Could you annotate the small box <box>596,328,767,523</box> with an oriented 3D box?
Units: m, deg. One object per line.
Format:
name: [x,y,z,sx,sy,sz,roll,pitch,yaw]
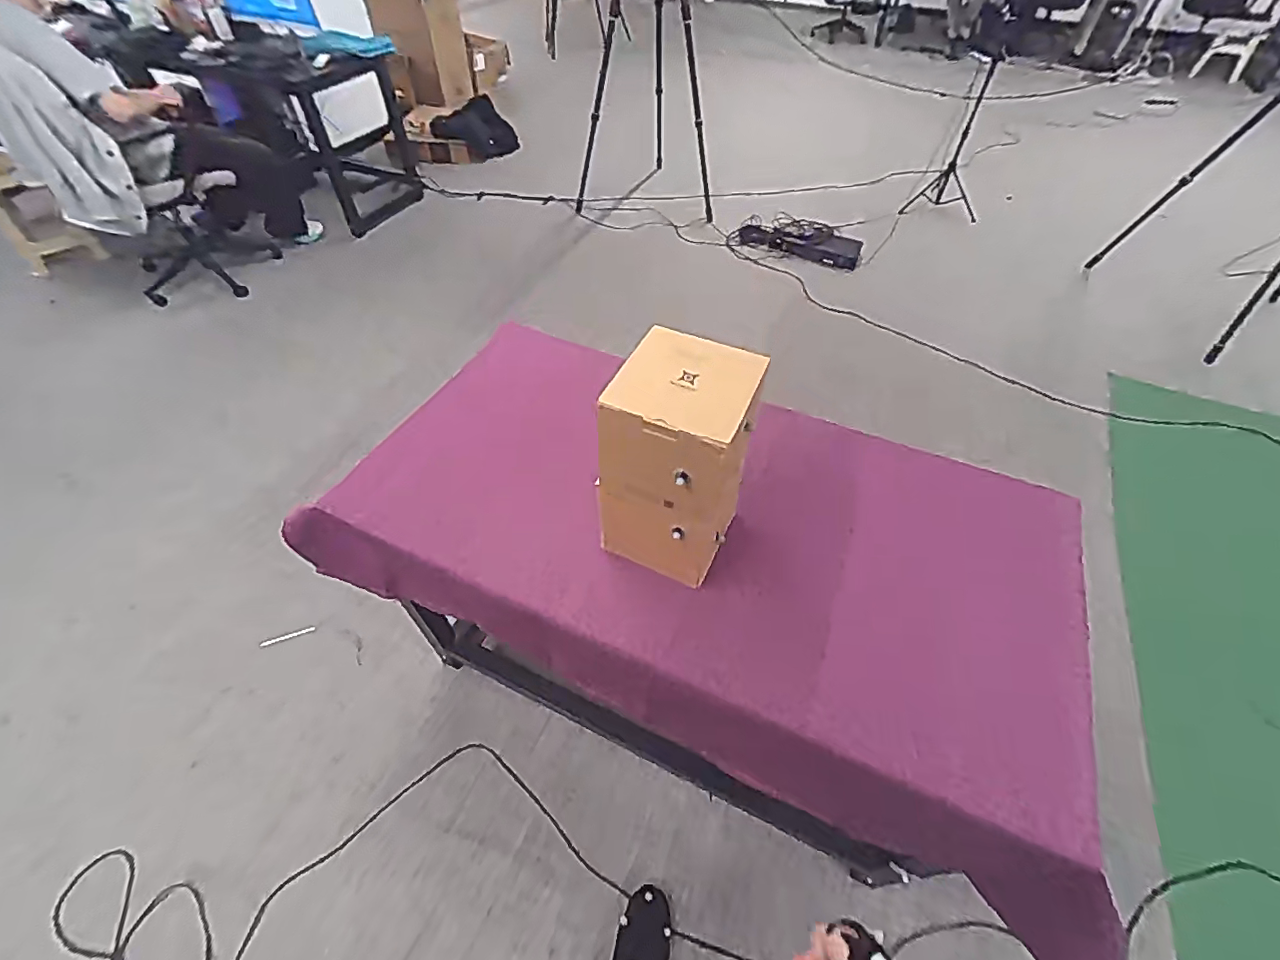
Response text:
small box: [0.055,-0.071,0.731,0.168,0.176,0.179,21,51,14]

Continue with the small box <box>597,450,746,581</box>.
small box: [0.047,0.032,0.856,0.179,0.176,0.168,21,52,16]
